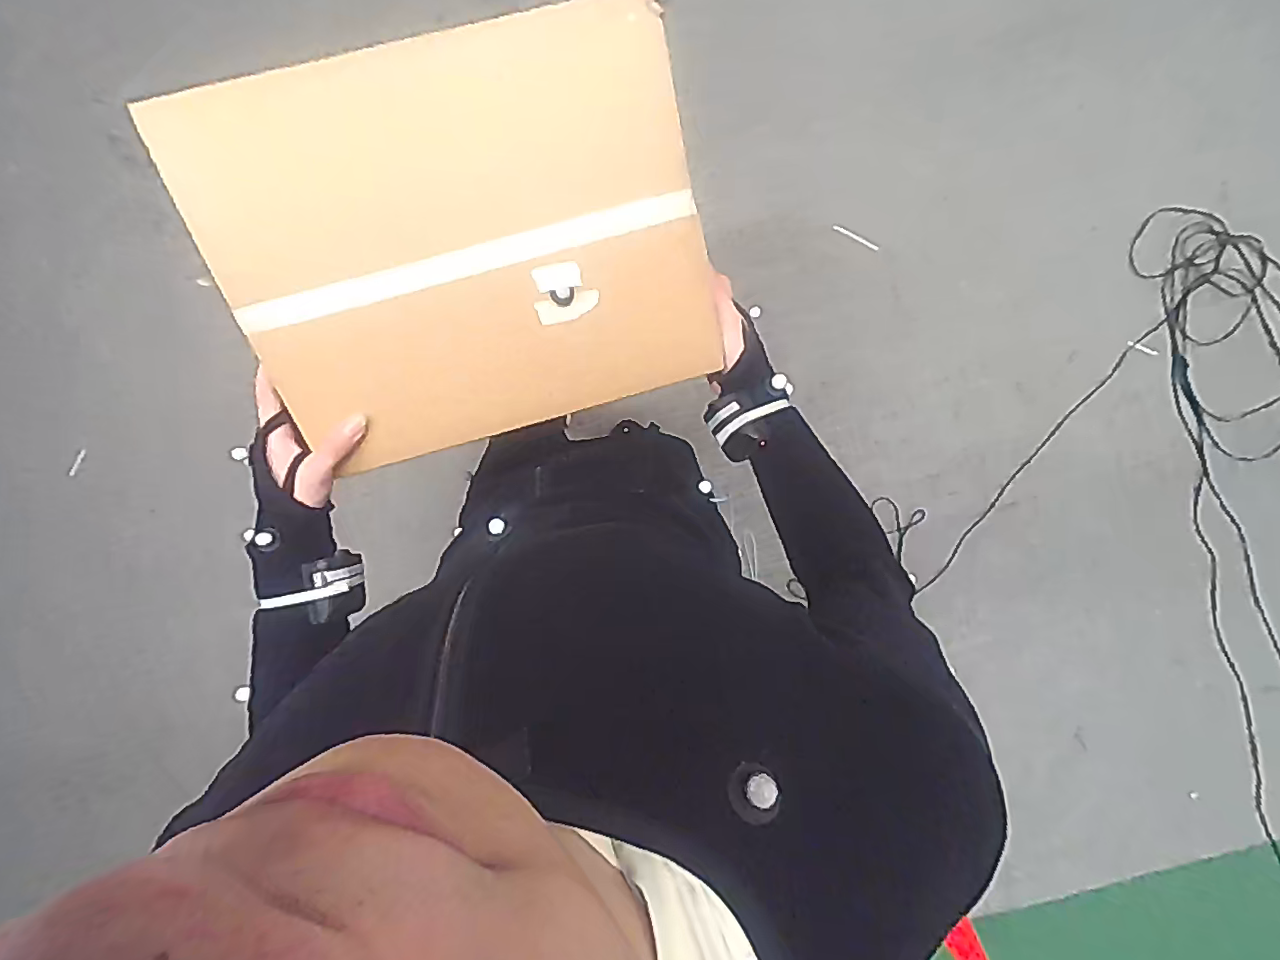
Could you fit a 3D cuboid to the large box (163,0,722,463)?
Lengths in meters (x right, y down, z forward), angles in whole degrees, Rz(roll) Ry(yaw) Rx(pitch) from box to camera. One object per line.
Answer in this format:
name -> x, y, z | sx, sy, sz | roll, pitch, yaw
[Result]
large box -> -0.166, -0.259, 0.615 | 0.408, 0.320, 0.320 | -16, 115, -4
